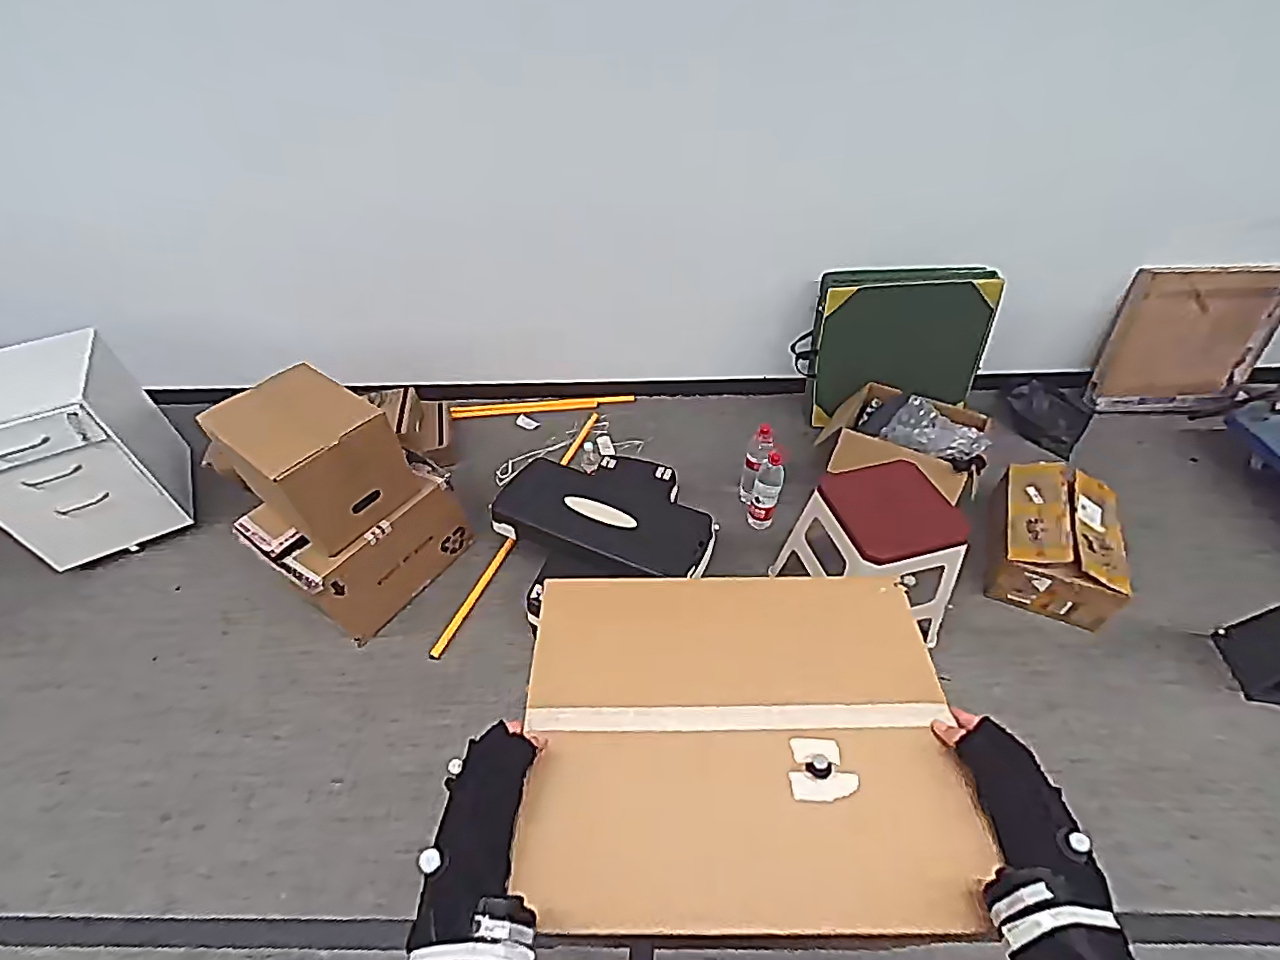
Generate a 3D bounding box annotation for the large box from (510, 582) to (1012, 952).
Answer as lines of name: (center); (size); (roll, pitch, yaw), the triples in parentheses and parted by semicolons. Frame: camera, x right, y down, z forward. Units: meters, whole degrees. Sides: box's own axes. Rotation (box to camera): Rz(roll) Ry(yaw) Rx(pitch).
large box: (0.093, 0.334, 0.629); (0.408, 0.320, 0.320); (-1, 48, 1)
